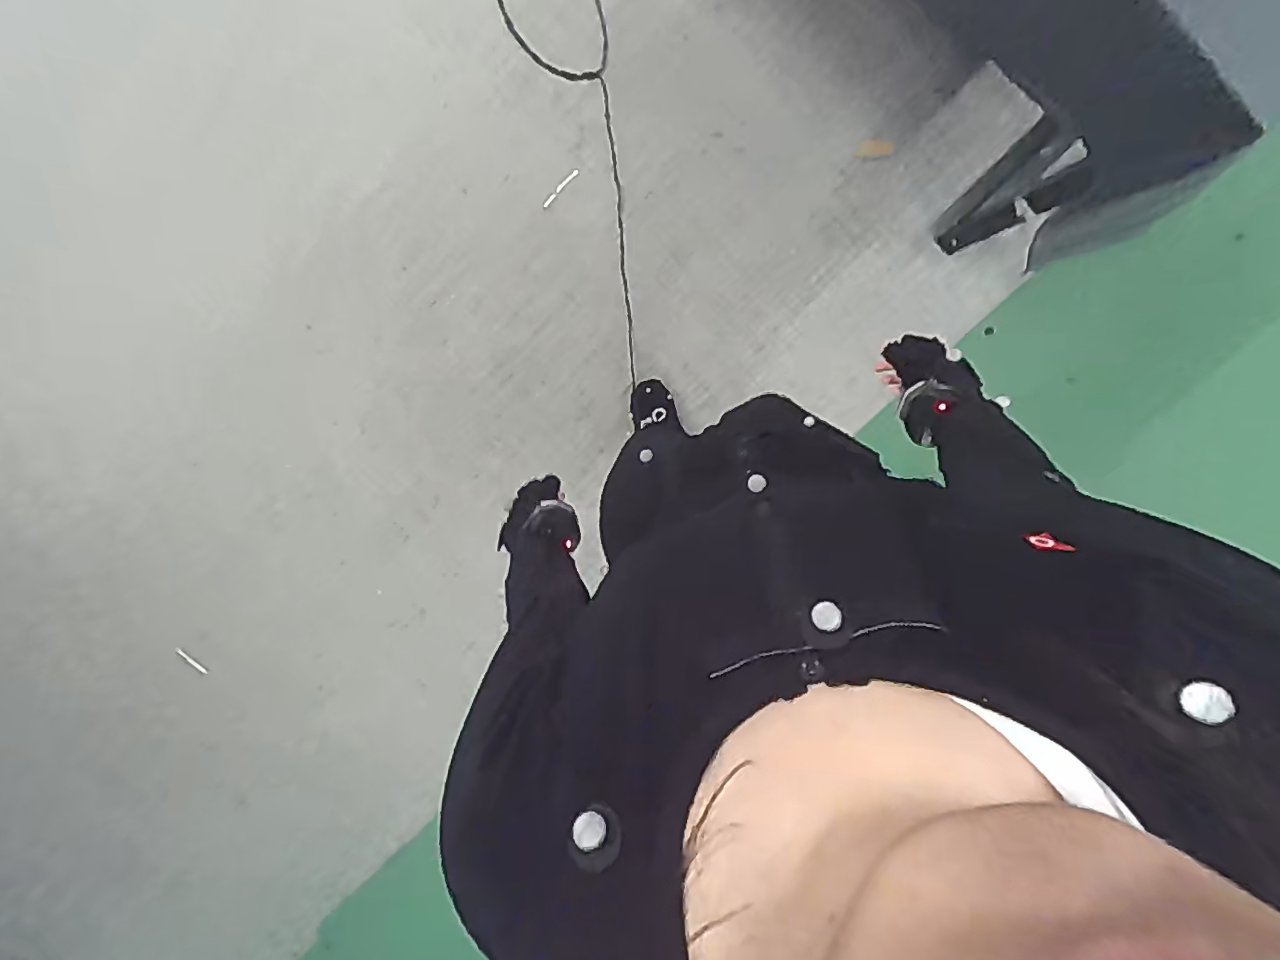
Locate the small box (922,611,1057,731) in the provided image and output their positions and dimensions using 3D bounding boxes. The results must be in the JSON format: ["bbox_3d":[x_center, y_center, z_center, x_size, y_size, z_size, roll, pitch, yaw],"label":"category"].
[{"bbox_3d":[0.822,0.445,1.290,0.179,0.176,0.168,-40,97,7],"label":"small box"}]
